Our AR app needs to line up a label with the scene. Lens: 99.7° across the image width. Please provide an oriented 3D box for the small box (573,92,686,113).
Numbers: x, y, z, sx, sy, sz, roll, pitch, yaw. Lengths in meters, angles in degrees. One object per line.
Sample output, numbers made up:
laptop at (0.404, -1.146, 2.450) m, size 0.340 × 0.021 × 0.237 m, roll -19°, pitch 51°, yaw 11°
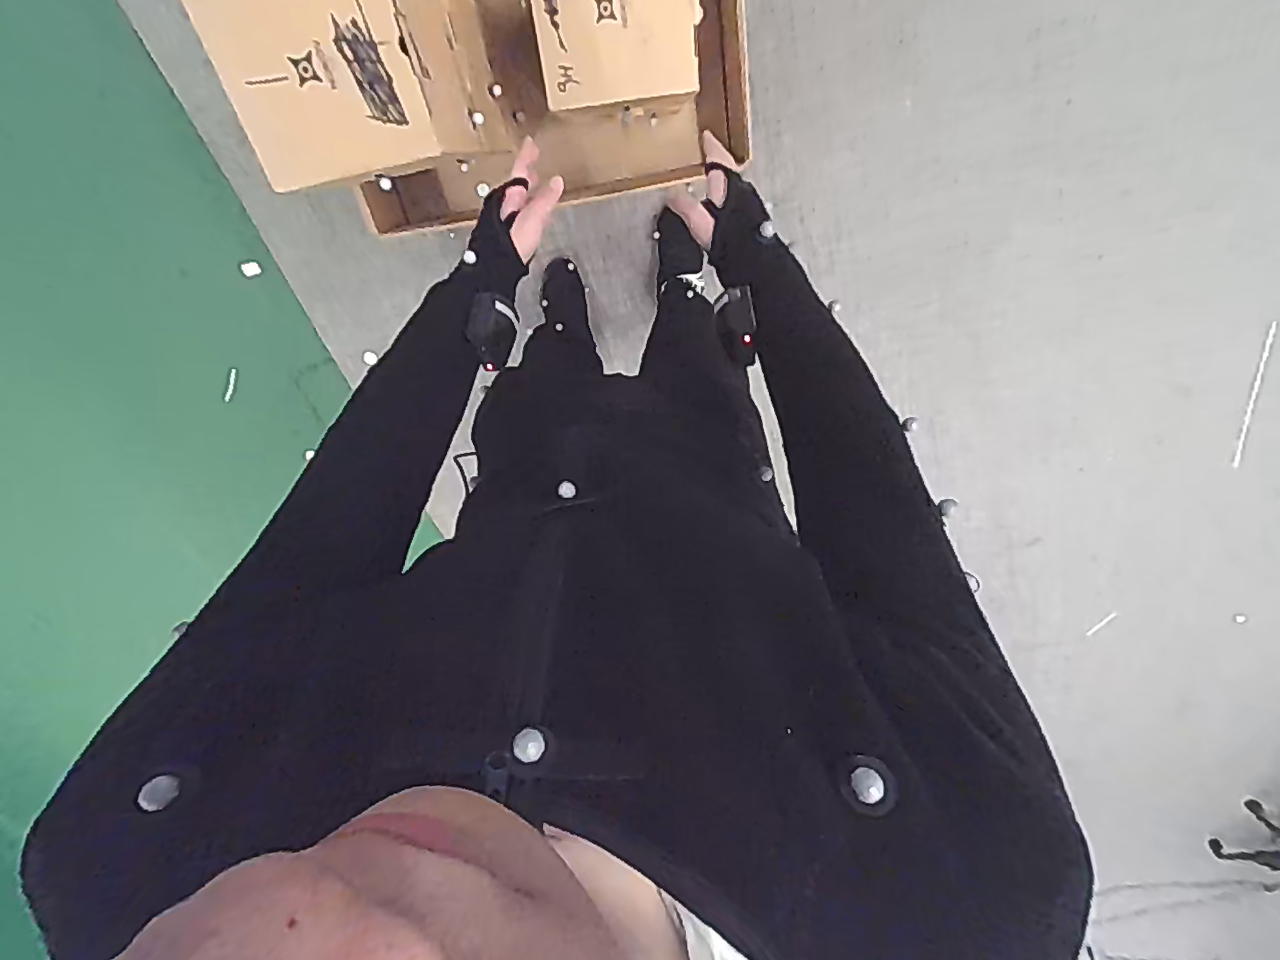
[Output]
small box at (-0.019, -0.643, 0.780) m, size 0.168 × 0.176 × 0.179 m, roll -4°, pitch 123°, yaw 4°

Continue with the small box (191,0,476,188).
small box at (-0.285, -0.413, 0.552) m, size 0.179 × 0.176 × 0.168 m, roll -8°, pitch 122°, yaw 7°

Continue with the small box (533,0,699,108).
small box at (-0.026, -0.554, 0.645) m, size 0.179 × 0.176 × 0.168 m, roll -4°, pitch 123°, yaw 5°
